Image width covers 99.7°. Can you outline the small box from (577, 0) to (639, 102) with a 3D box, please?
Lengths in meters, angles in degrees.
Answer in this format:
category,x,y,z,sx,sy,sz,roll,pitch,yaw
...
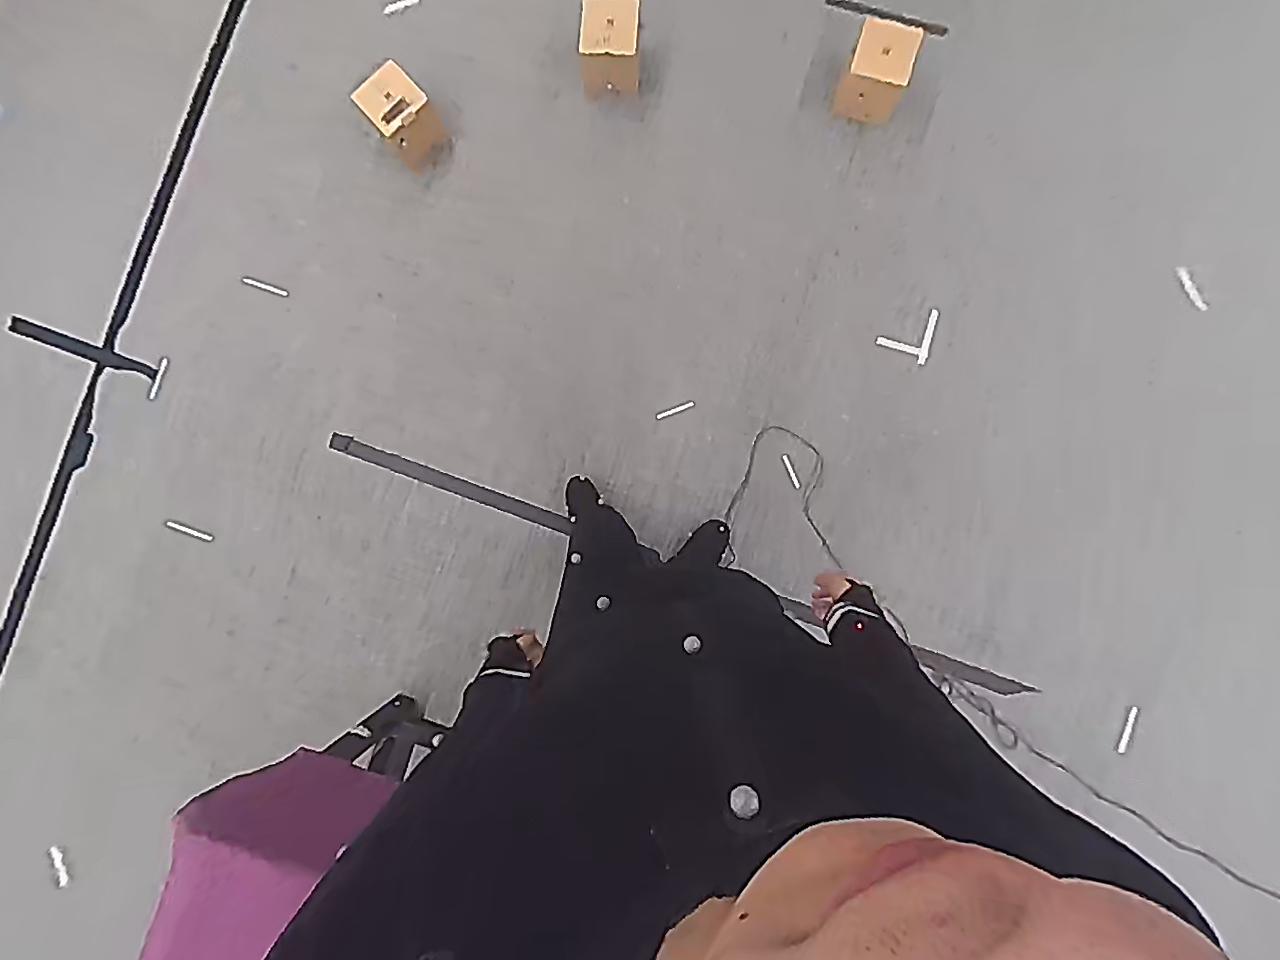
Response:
category,x,y,z,sx,sy,sz,roll,pitch,yaw
small box,-0.091,-1.293,1.633,0.168,0.176,0.179,4,88,2

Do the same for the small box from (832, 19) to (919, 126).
category,x,y,z,sx,sy,sz,roll,pitch,yaw
small box,0.688,-1.200,1.604,0.168,0.176,0.179,17,87,3
